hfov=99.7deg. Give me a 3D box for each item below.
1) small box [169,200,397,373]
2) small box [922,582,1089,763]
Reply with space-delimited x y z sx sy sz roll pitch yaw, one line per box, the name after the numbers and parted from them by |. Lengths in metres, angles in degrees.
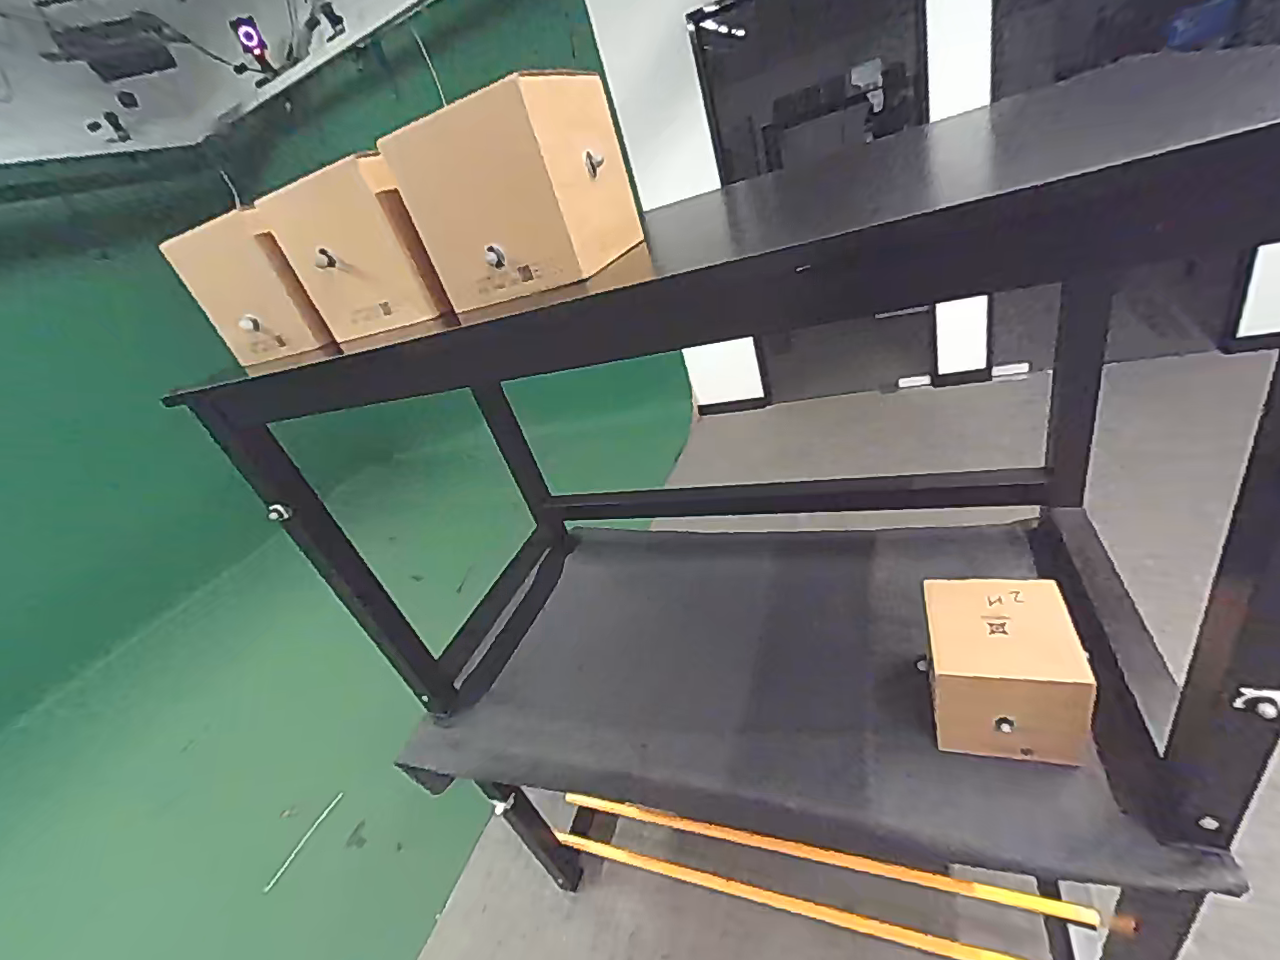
-0.474 -0.266 0.753 0.168 0.176 0.179 -5 33 25 | small box
0.498 0.264 0.758 0.168 0.176 0.179 -5 31 25 | small box
